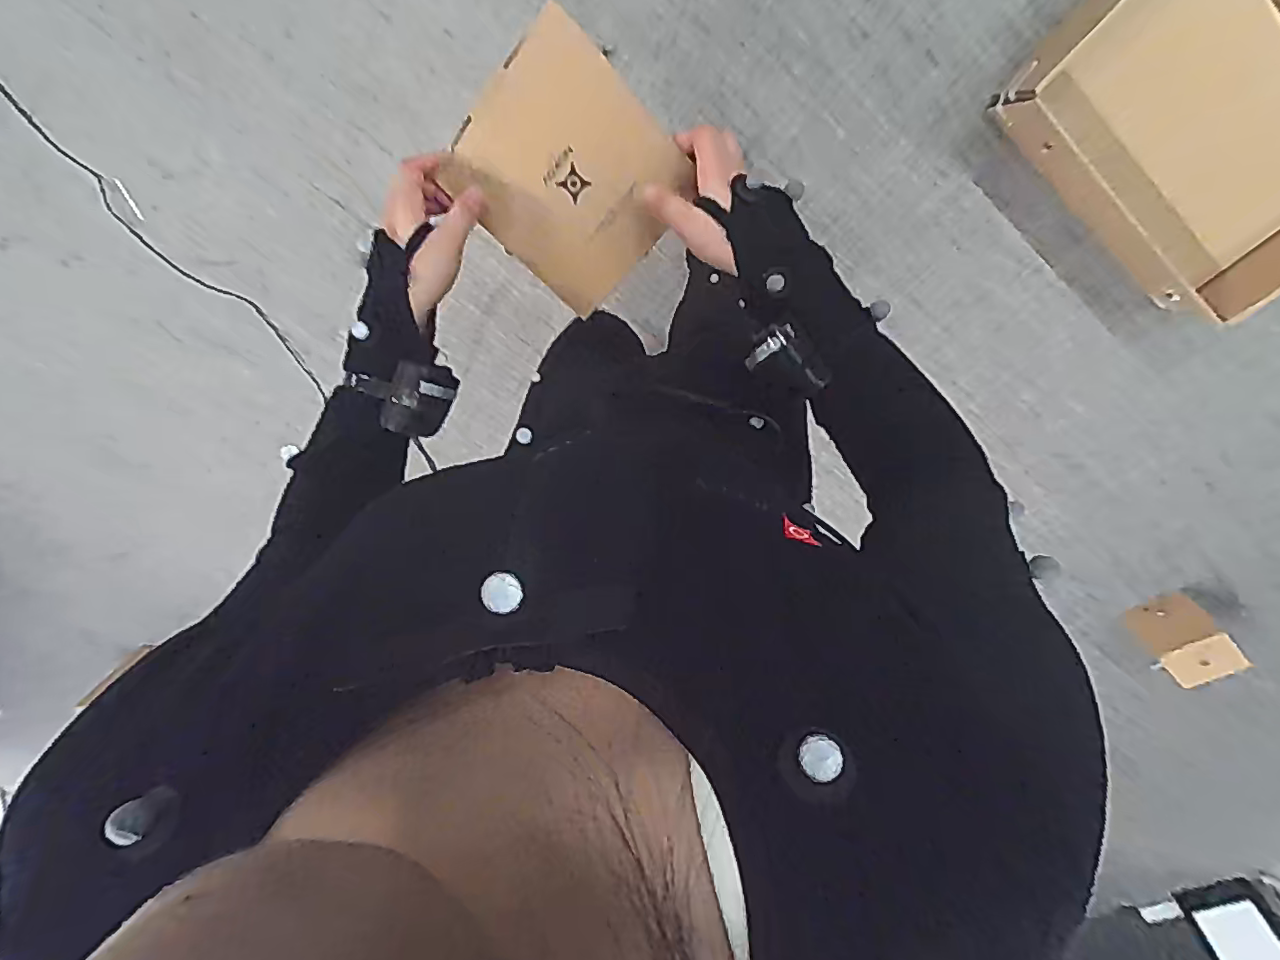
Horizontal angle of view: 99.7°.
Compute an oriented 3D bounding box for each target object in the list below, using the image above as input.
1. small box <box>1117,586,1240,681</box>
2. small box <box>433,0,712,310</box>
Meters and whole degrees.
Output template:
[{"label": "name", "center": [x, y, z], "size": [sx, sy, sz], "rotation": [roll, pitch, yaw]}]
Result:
[{"label": "small box", "center": [1.563, 0.445, 1.579], "size": [0.179, 0.176, 0.168], "rotation": [40, 119, -17]}, {"label": "small box", "center": [-0.057, -0.301, 0.515], "size": [0.179, 0.176, 0.168], "rotation": [38, 117, -23]}]
